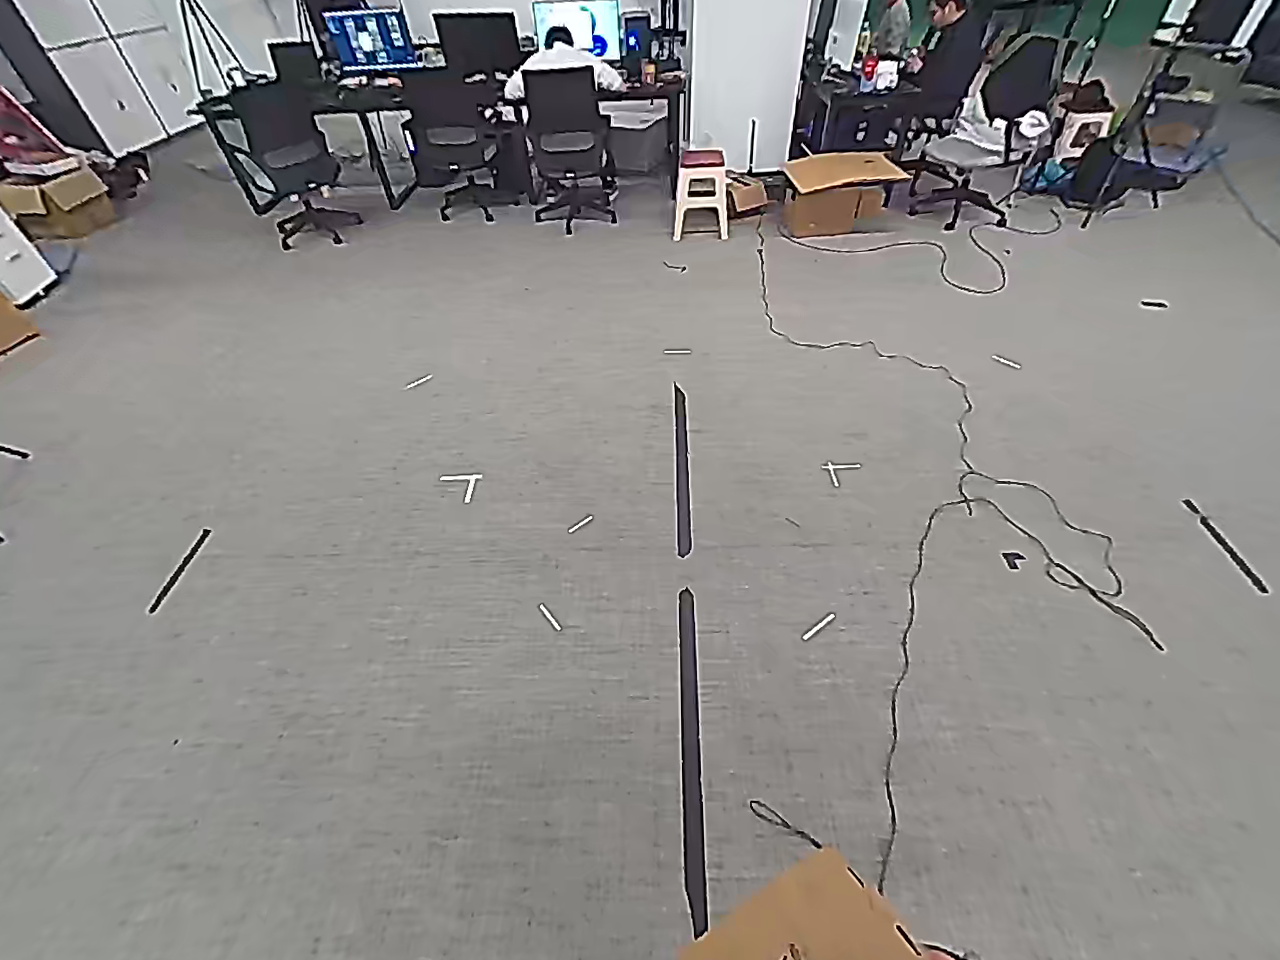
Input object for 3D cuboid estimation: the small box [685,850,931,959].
[{"bbox_3d":[0.163,0.459,0.427,0.179,0.168,0.176,-28,88,-9],"label":"small box"}]
